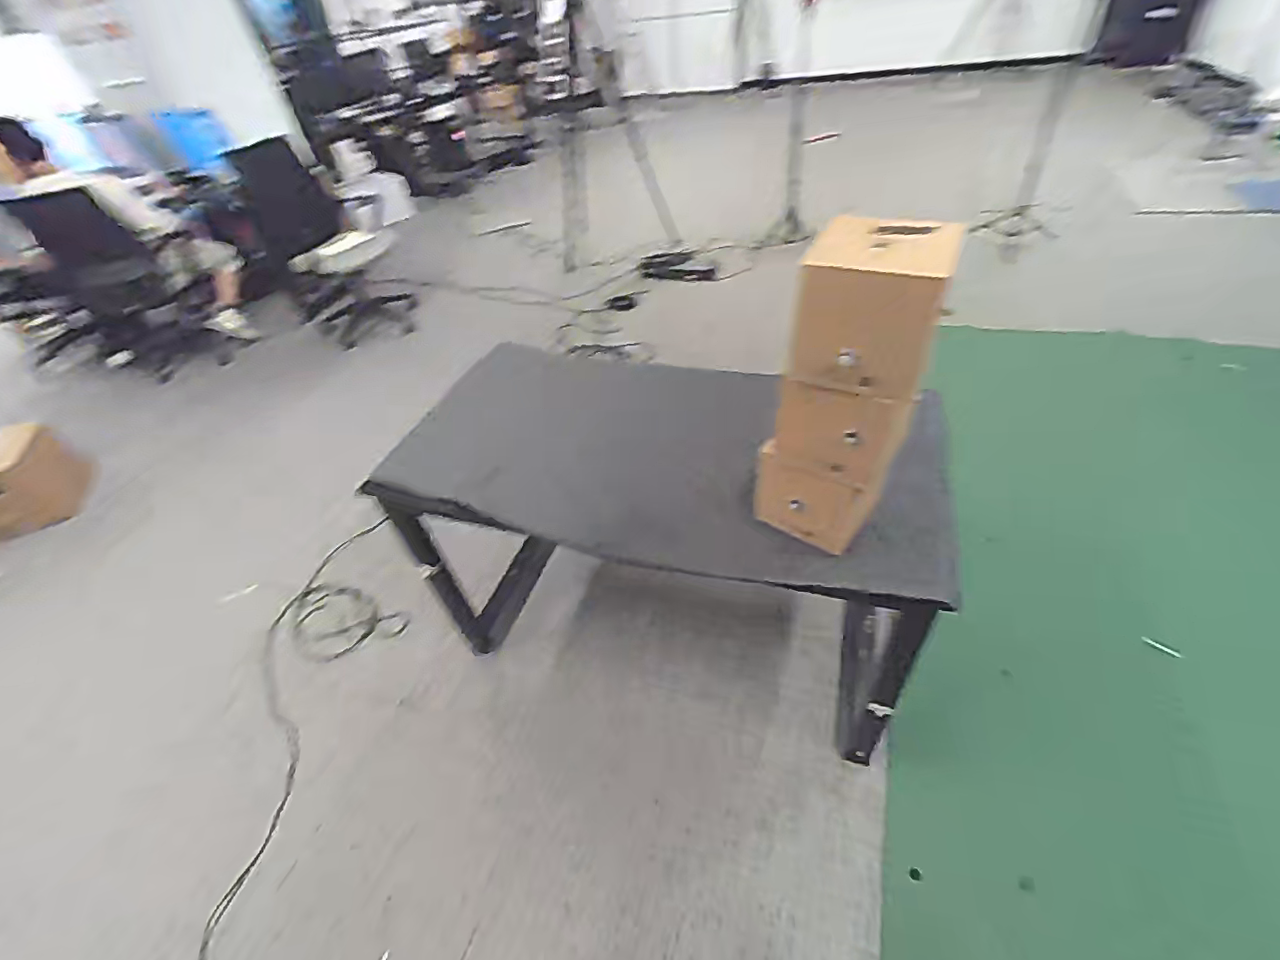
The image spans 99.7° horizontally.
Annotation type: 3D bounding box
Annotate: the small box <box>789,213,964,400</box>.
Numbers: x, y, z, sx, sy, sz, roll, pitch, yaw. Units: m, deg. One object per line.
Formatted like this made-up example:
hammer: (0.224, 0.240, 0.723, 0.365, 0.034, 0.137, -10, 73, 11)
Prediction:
small box: (0.305, -0.233, 0.716, 0.168, 0.176, 0.179, 17, 48, 25)

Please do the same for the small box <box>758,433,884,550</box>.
small box: (0.323, -0.009, 0.954, 0.168, 0.176, 0.179, 26, 51, 32)

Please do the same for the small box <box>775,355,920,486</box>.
small box: (0.318, -0.118, 0.833, 0.168, 0.176, 0.179, 22, 49, 28)
